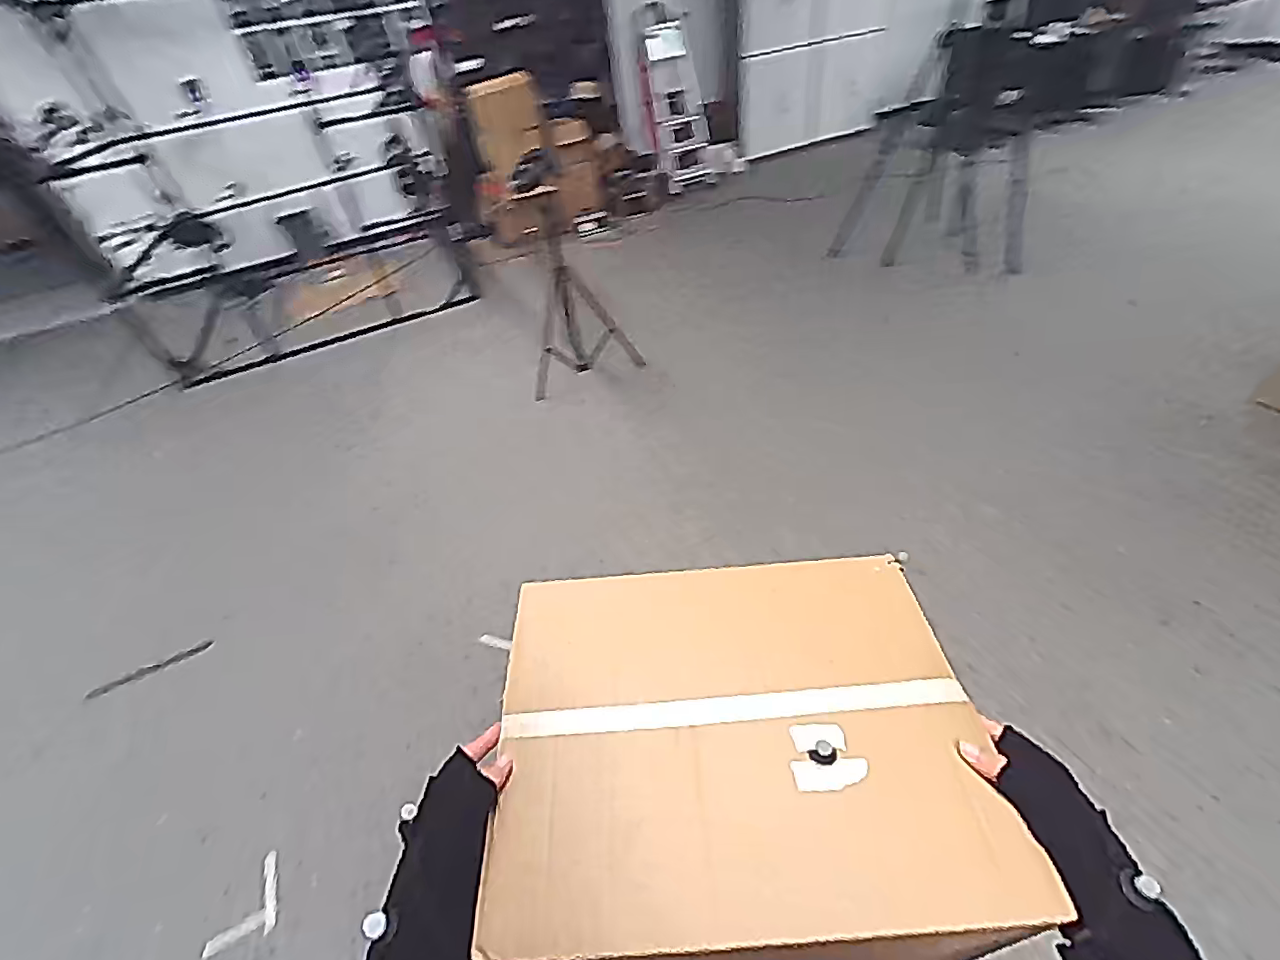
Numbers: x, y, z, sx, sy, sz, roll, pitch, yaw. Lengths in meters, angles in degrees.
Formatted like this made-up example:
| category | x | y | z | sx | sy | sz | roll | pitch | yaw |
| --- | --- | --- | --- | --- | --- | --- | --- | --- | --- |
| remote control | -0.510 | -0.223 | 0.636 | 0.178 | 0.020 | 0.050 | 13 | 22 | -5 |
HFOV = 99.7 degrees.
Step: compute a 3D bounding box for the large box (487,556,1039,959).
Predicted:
| category | x | y | z | sx | sy | sz | roll | pitch | yaw |
| --- | --- | --- | --- | --- | --- | --- | --- | --- | --- |
| large box | 0.084 | 0.316 | 0.585 | 0.408 | 0.320 | 0.320 | -5 | 42 | -1 |
